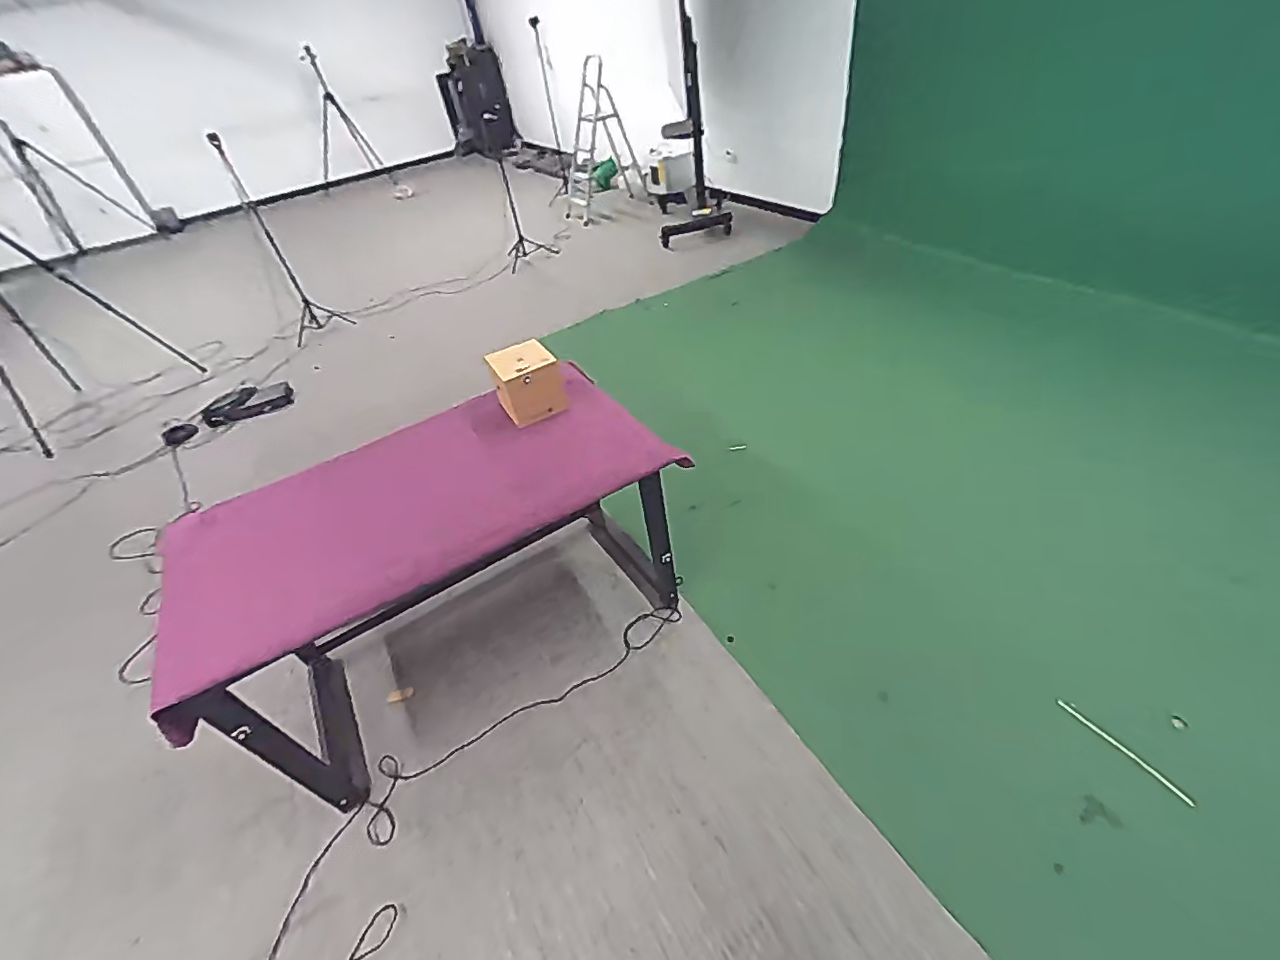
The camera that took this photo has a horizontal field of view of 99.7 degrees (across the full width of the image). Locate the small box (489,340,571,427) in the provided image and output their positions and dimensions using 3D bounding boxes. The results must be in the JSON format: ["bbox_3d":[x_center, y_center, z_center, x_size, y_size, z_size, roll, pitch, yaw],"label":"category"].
[{"bbox_3d":[-0.326,-0.286,1.608,0.168,0.176,0.179,-27,44,-17],"label":"small box"}]
